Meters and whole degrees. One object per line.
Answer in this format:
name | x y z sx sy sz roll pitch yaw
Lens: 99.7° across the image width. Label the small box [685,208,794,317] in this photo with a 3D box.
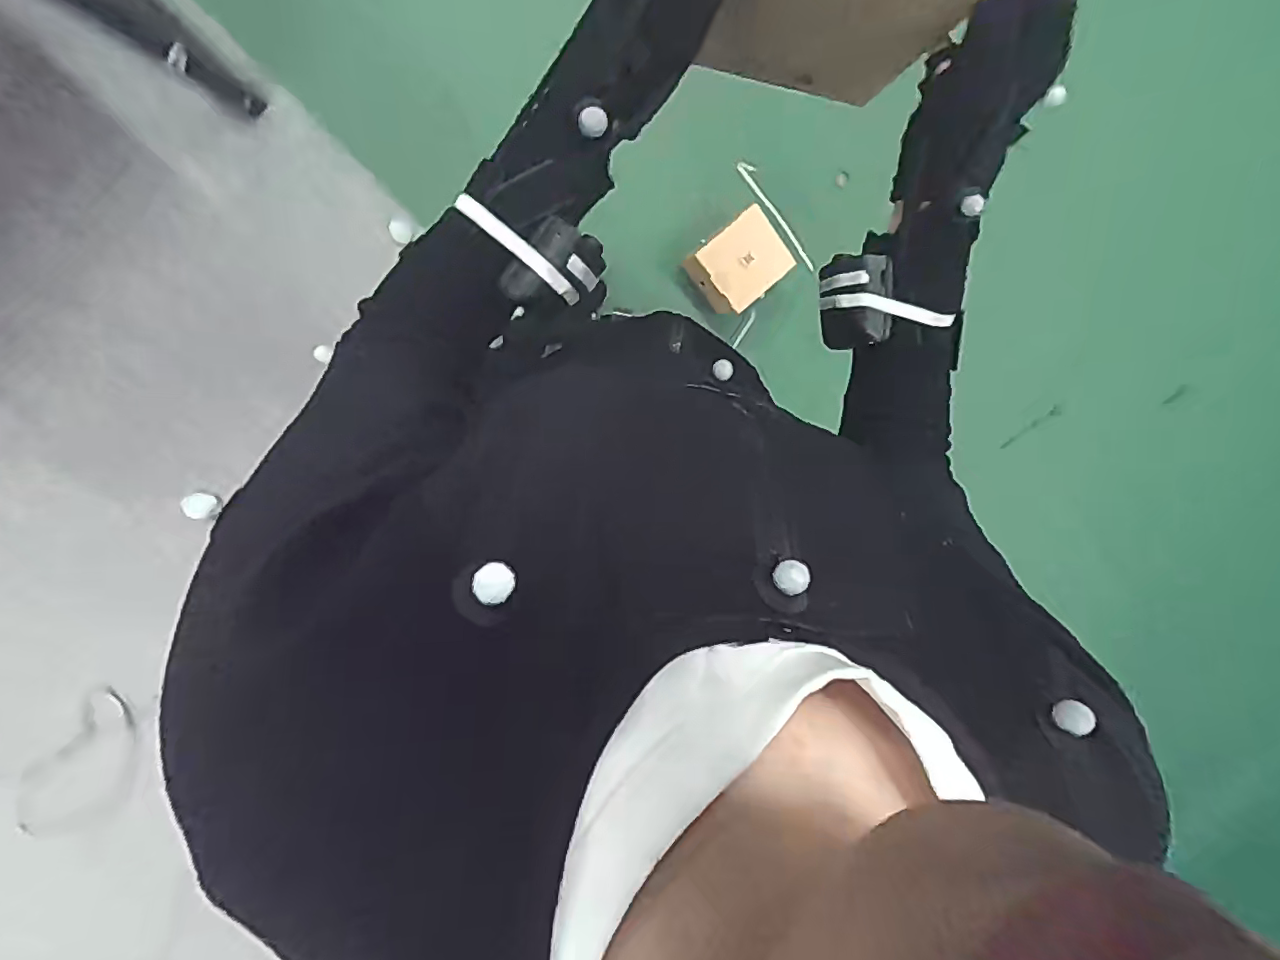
small box | 0.230 -0.513 1.295 0.179 0.176 0.168 -40 107 6
